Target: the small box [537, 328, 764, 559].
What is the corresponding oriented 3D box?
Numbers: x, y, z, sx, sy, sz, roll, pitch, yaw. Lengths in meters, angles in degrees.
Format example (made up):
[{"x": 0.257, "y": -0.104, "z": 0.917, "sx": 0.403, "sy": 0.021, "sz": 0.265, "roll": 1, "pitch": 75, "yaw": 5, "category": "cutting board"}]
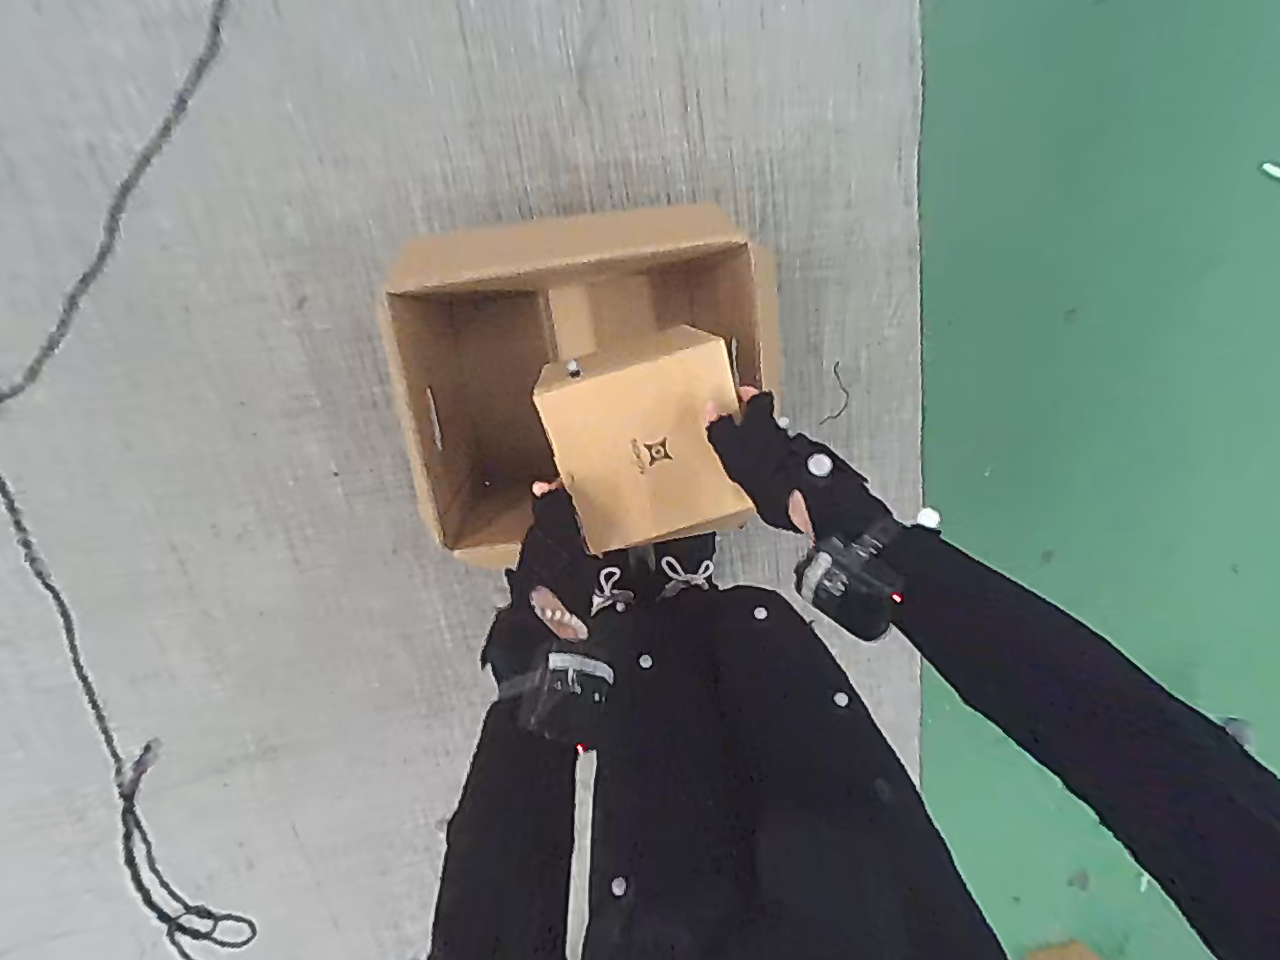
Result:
[{"x": 0.006, "y": -0.049, "z": 0.555, "sx": 0.179, "sy": 0.176, "sz": 0.168, "roll": -16, "pitch": 111, "yaw": 0, "category": "small box"}]
